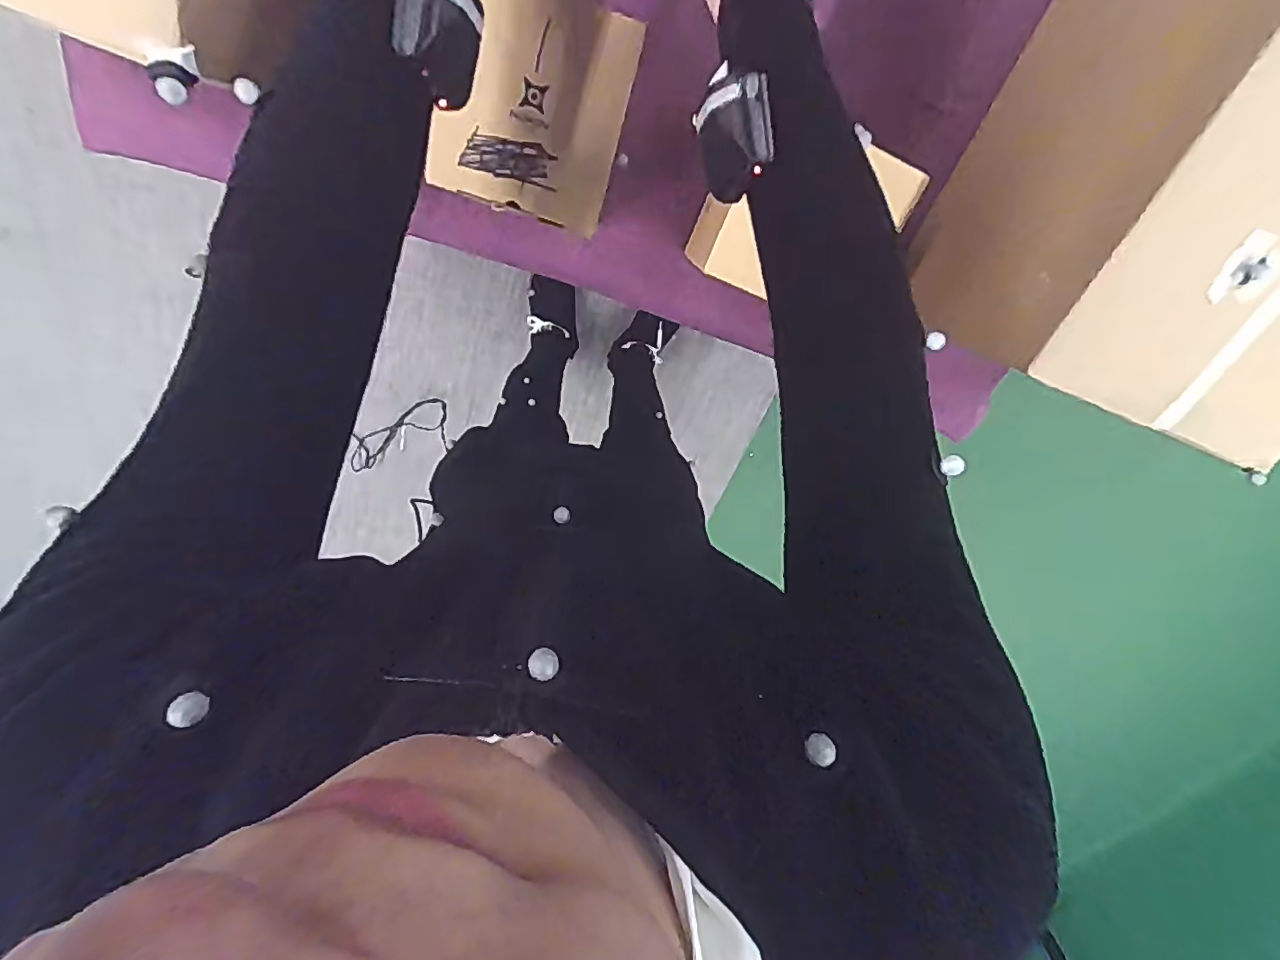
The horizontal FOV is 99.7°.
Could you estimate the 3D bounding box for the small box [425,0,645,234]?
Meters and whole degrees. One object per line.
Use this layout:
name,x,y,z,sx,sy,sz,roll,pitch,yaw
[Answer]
small box,-0.101,-0.372,0.546,0.168,0.176,0.179,14,117,-12

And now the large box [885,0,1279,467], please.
large box,0.547,-0.291,0.557,0.320,0.320,0.408,18,118,-12
